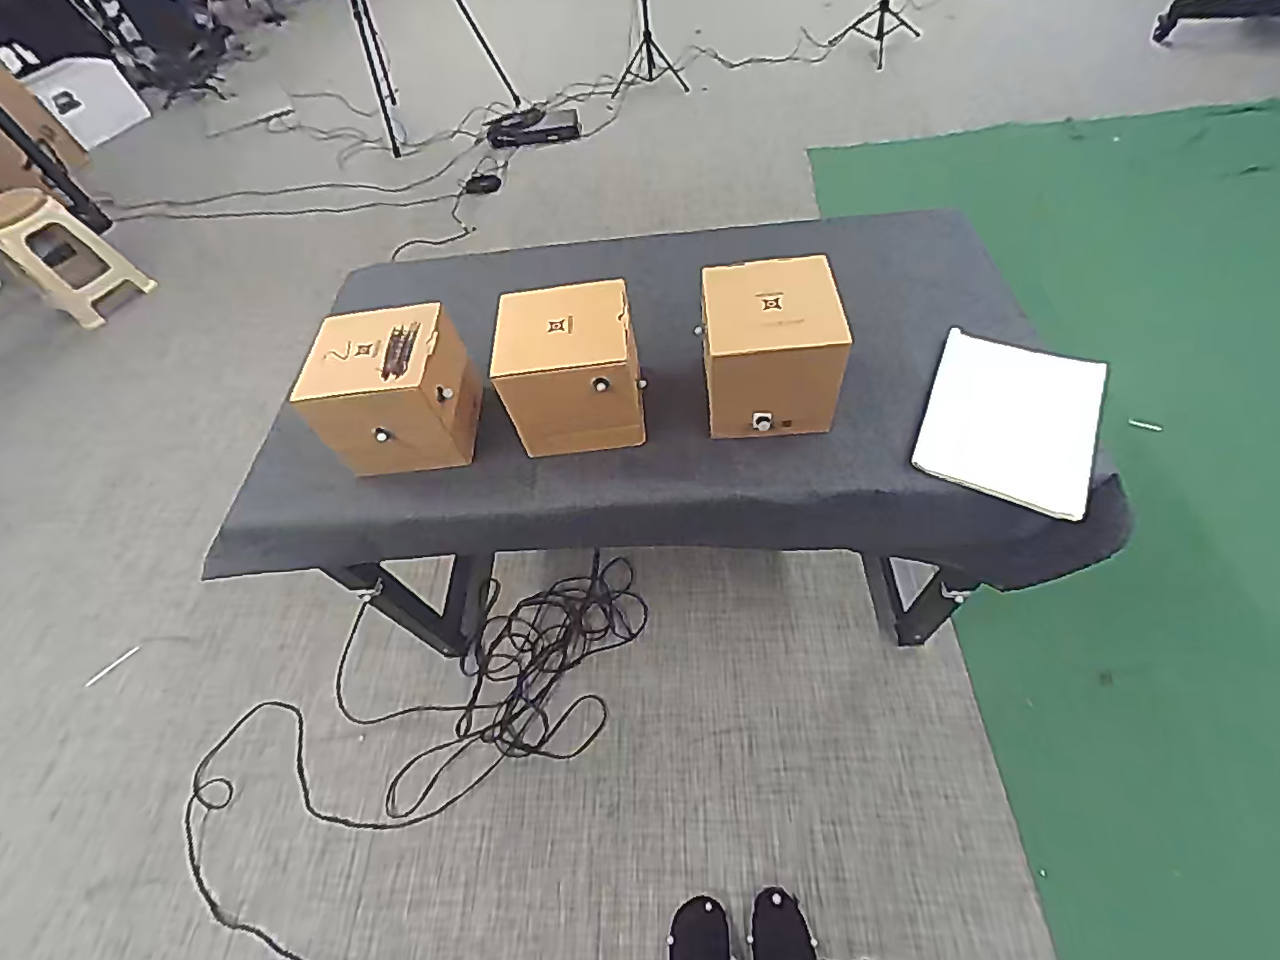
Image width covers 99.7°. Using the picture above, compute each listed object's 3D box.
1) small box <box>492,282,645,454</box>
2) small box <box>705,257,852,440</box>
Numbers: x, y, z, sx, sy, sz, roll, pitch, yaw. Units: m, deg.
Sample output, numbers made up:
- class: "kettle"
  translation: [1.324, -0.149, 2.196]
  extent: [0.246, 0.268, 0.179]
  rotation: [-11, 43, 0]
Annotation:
- class: "small box"
  translation: [-0.092, -0.152, 0.773]
  extent: [0.179, 0.176, 0.168]
  rotation: [-6, 55, 3]
- class: "small box"
  translation: [0.177, -0.177, 0.750]
  extent: [0.168, 0.176, 0.179]
  rotation: [-5, 56, 7]
